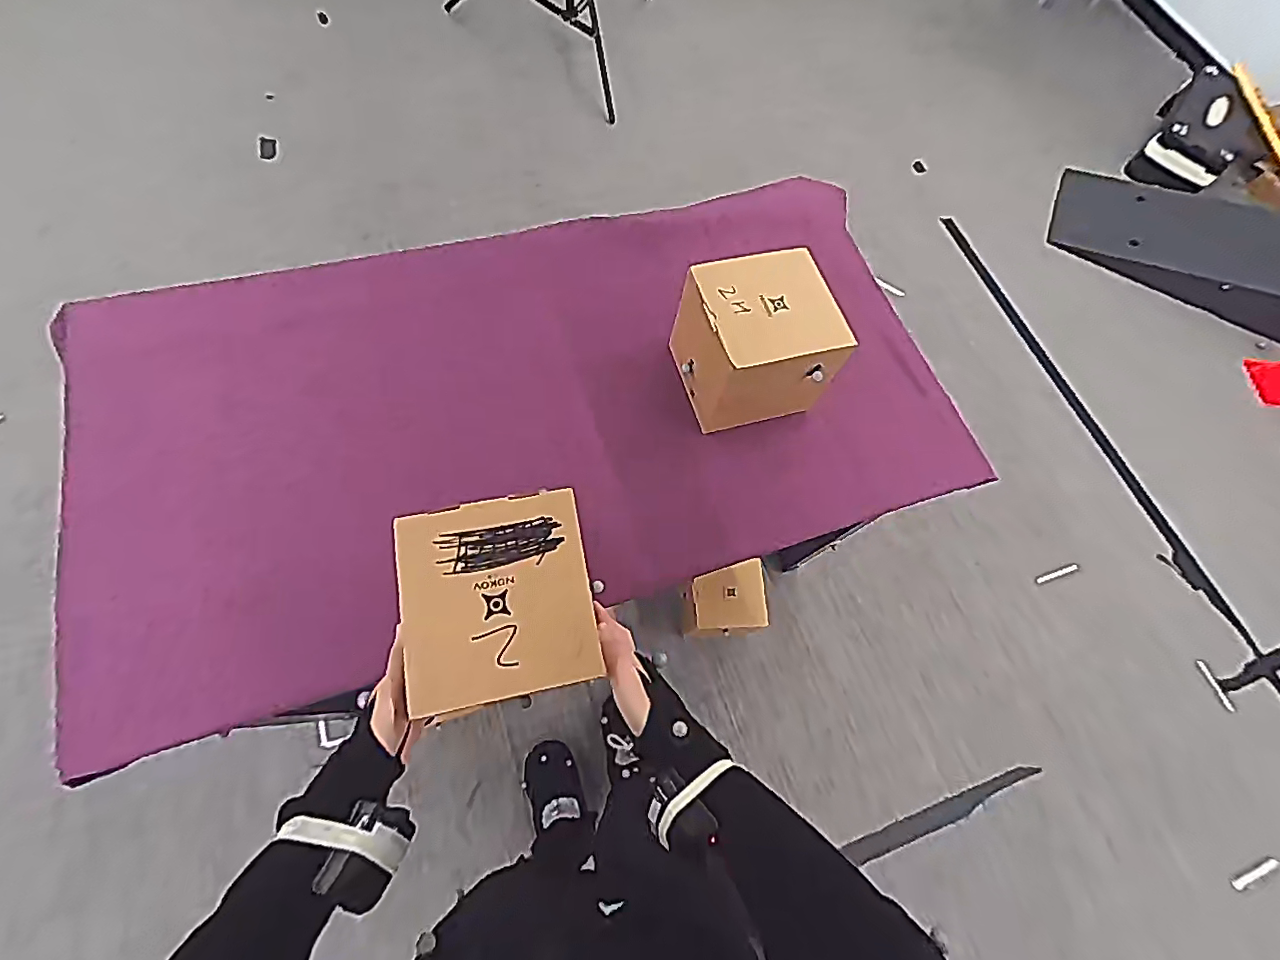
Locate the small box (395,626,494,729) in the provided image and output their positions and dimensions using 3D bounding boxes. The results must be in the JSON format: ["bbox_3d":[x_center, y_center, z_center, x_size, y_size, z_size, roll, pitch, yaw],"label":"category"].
[{"bbox_3d":[-0.435,0.448,1.218,0.168,0.176,0.179,-14,69,-12],"label":"small box"}]

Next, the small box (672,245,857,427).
[{"bbox_3d":[0.160,-0.195,0.760,0.179,0.176,0.168,-14,69,-12],"label":"small box"}]

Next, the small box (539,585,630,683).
[{"bbox_3d":[-0.136,0.371,1.285,0.168,0.176,0.179,-17,72,-13],"label":"small box"}]

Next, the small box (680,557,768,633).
[{"bbox_3d":[0.204,0.292,1.360,0.179,0.176,0.168,0,68,-6],"label":"small box"}]
